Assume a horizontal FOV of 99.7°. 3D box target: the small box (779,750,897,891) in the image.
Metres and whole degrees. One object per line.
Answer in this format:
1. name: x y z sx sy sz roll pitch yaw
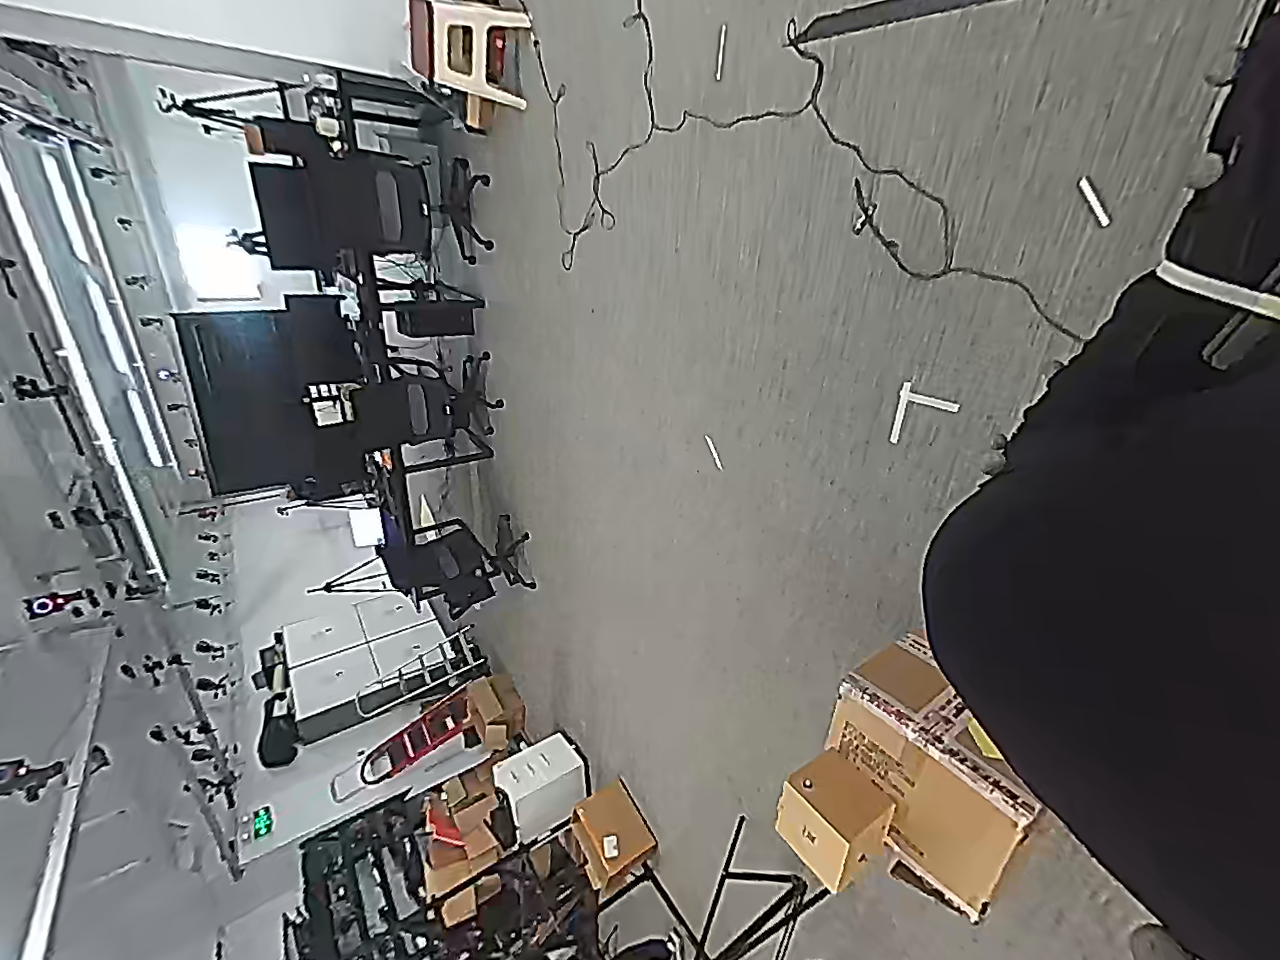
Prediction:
1. small box: 0.443 0.750 1.212 0.179 0.176 0.168 32 126 51
